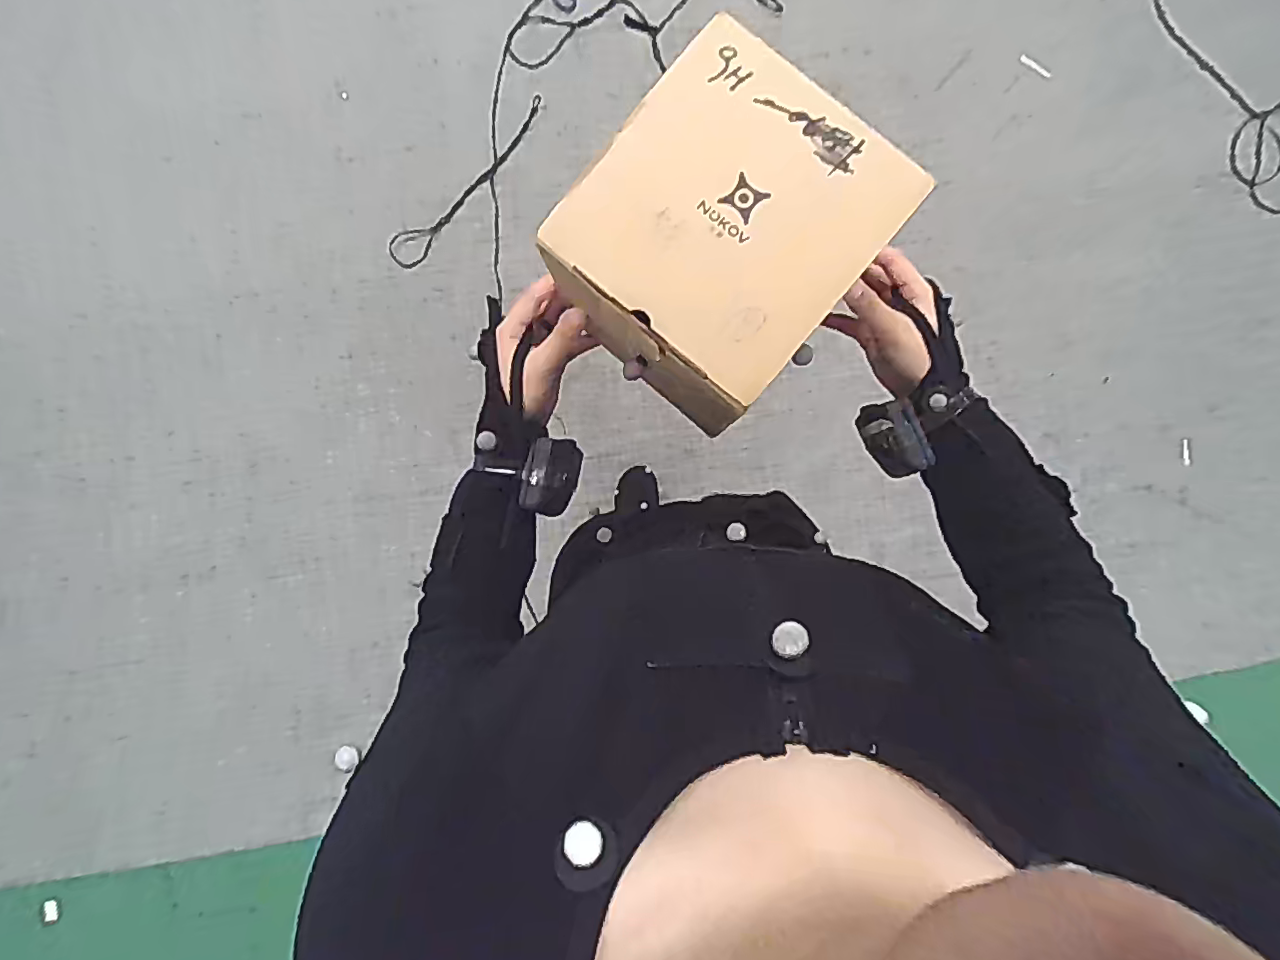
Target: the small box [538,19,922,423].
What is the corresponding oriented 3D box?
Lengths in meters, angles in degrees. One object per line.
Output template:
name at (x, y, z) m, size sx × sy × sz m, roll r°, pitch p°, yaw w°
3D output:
small box at (0.057, -0.161, 0.404) m, size 0.168 × 0.176 × 0.179 m, roll 40°, pitch 91°, yaw 2°
